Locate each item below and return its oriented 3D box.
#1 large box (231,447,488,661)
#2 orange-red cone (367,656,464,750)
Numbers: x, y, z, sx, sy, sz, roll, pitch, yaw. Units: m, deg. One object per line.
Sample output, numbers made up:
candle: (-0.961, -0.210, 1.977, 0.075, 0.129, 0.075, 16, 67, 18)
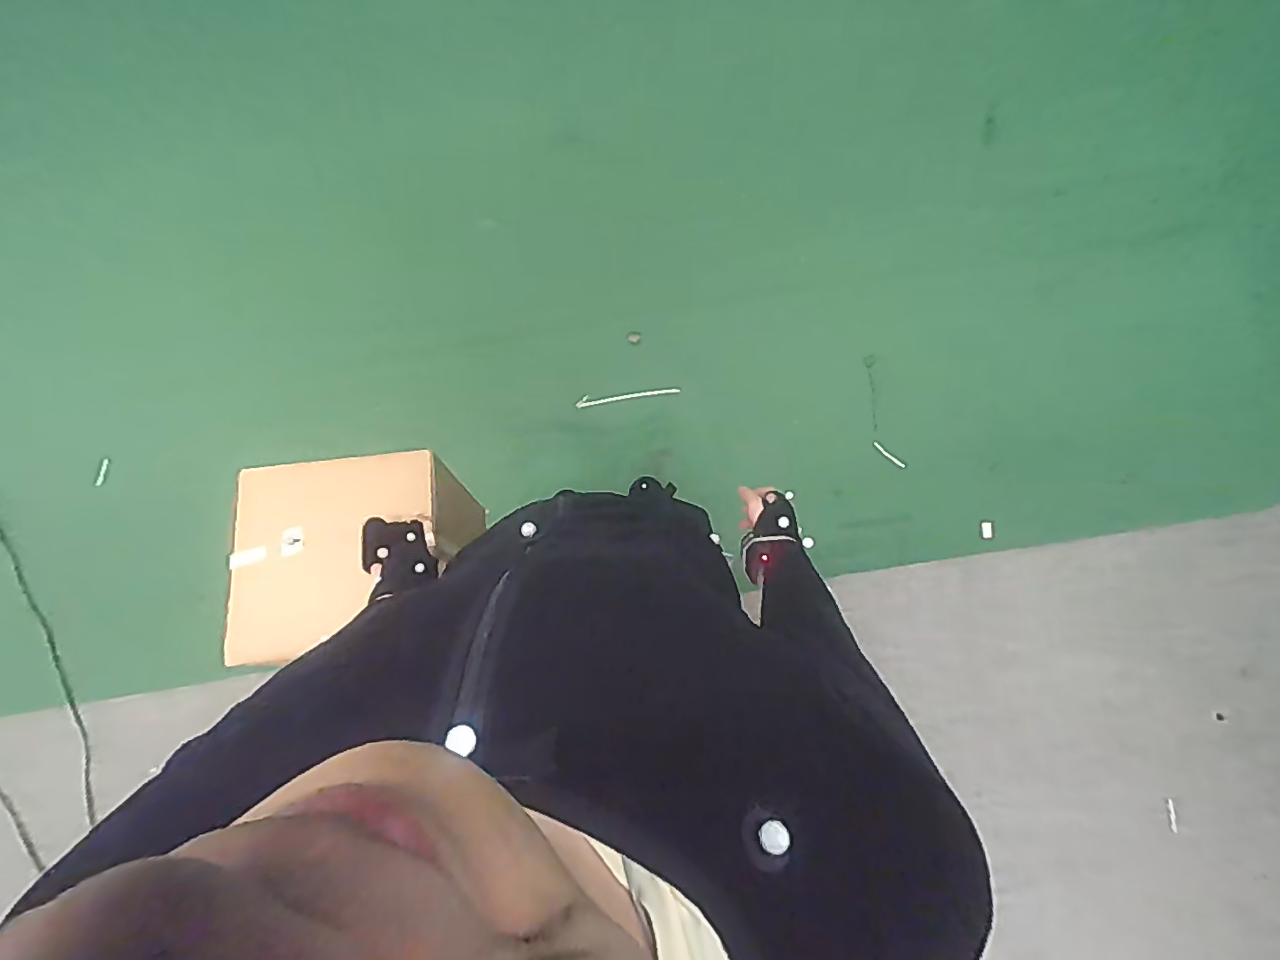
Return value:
large box: (-0.499, 0.160, 1.042, 0.320, 0.408, 0.320, -6, 74, -6)
orange-red cone: (-0.638, 0.633, 1.472, 0.199, 0.360, 0.198, -2, 89, 1)
